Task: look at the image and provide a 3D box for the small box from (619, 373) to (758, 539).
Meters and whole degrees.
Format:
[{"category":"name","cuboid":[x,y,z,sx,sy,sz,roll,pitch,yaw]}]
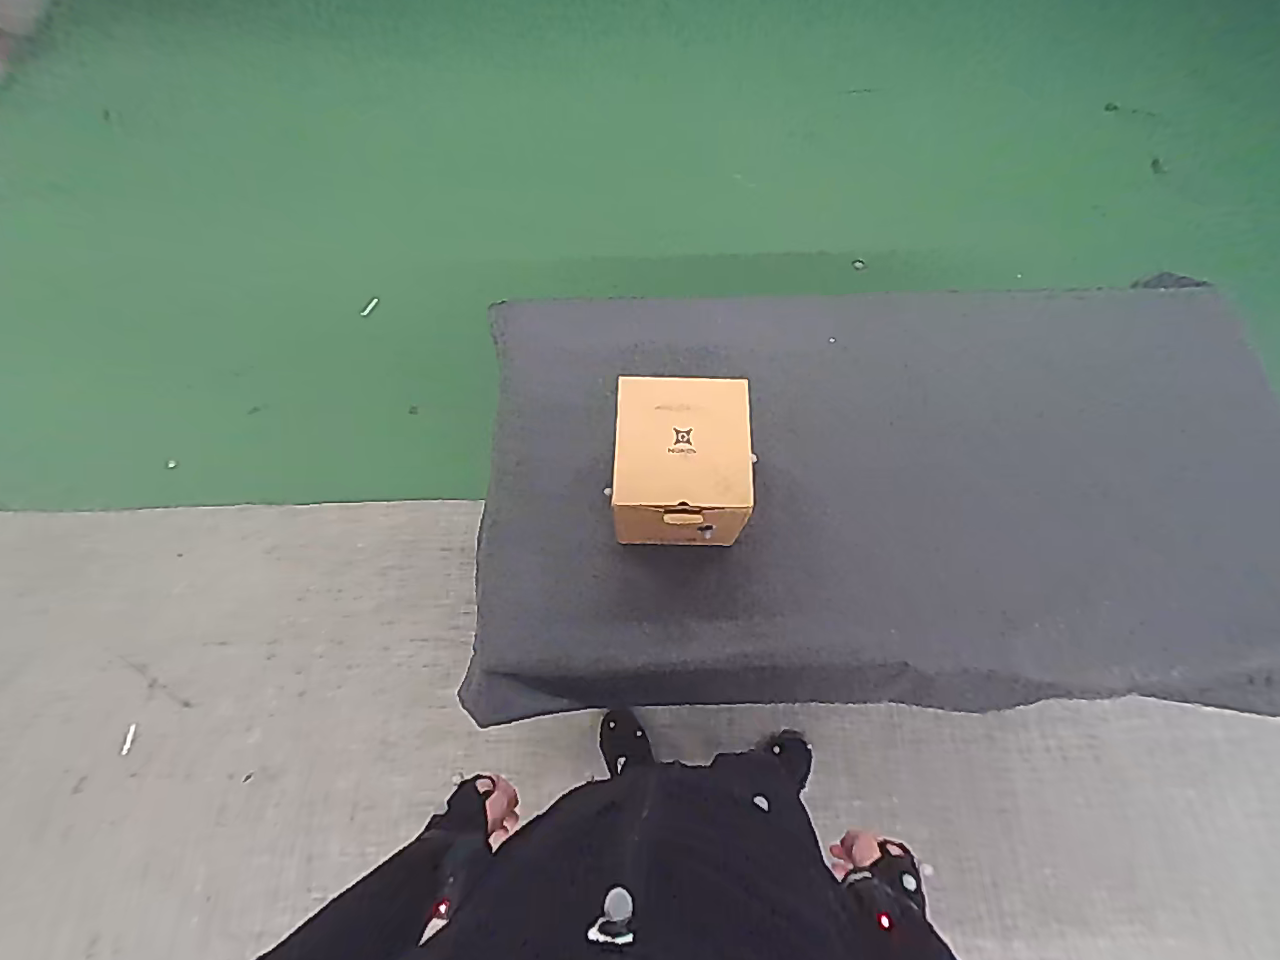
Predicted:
[{"category":"small box","cuboid":[0.059,-0.024,0.733,0.168,0.176,0.179,2,68,-1]}]
